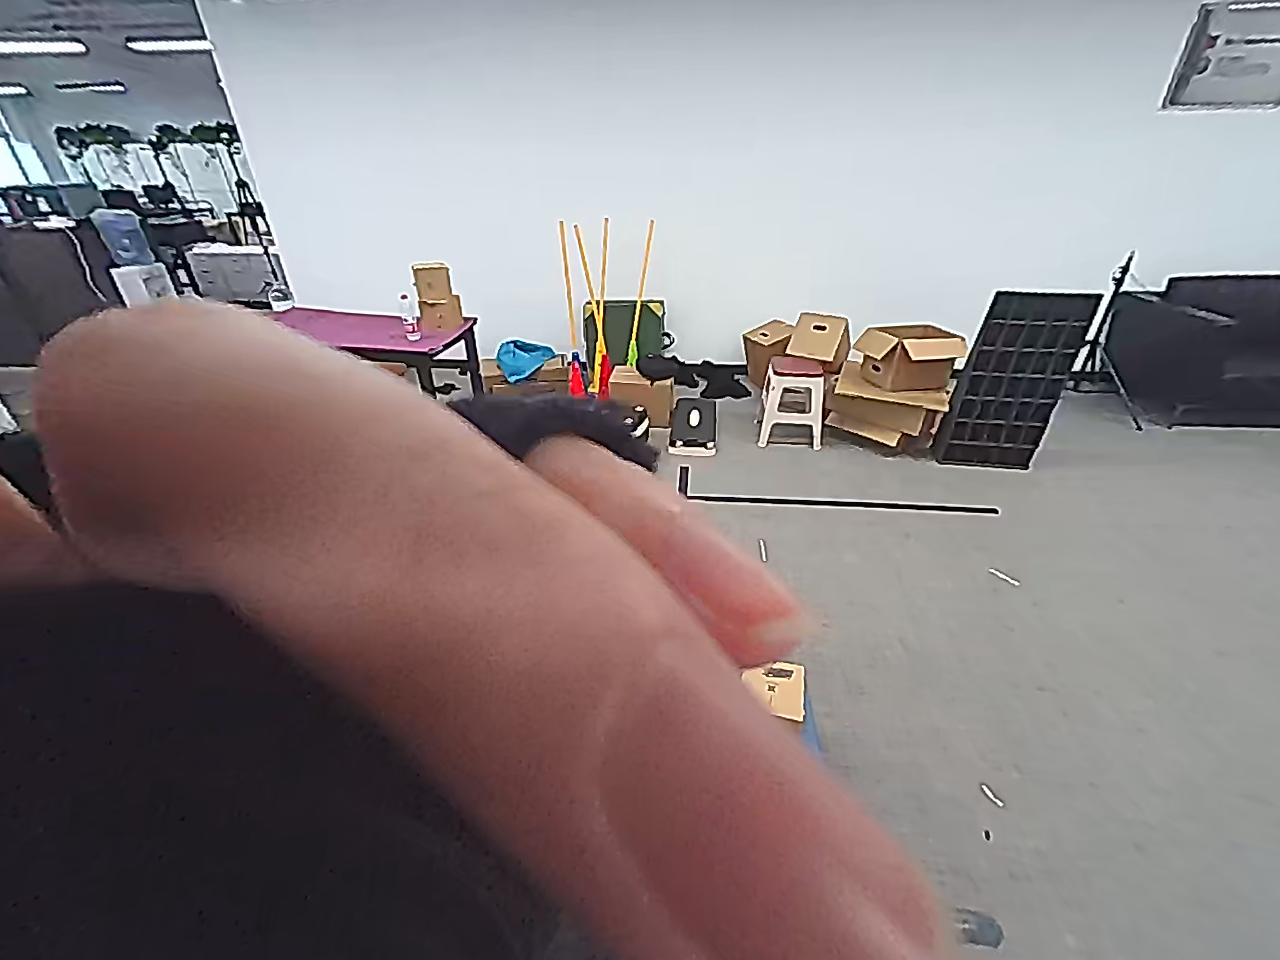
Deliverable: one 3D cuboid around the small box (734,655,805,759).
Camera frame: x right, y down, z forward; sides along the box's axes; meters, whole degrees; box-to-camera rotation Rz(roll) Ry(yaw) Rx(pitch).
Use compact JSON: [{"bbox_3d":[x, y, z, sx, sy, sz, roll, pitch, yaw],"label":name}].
[{"bbox_3d":[0.351,0.616,1.471,0.168,0.176,0.179,8,34,13],"label":"small box"}]
